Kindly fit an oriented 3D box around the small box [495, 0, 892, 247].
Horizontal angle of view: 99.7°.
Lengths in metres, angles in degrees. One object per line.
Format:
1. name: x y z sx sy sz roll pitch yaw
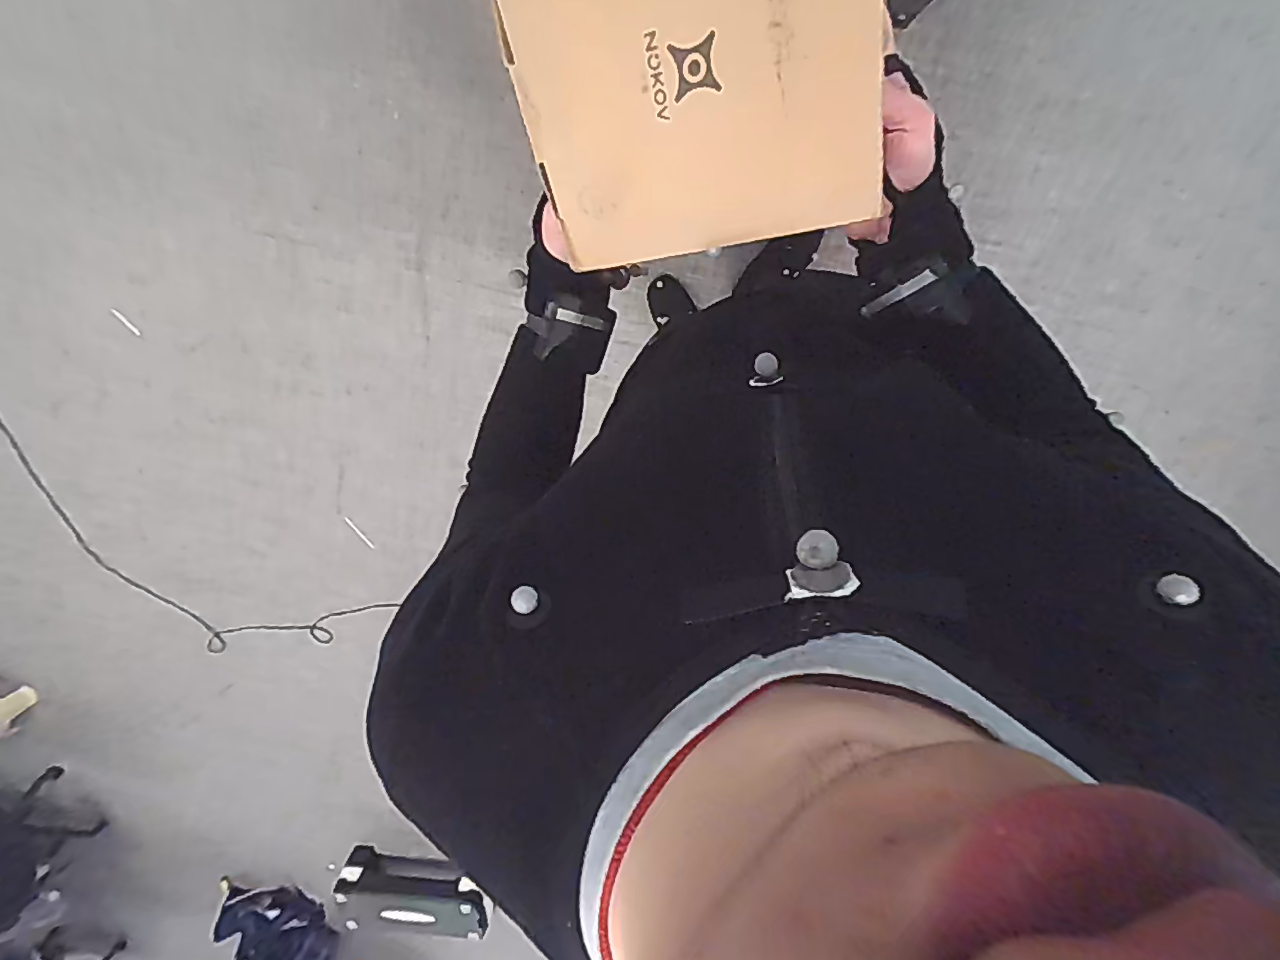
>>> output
1. small box: 0.038 -0.253 0.308 0.179 0.176 0.168 -4 128 17
